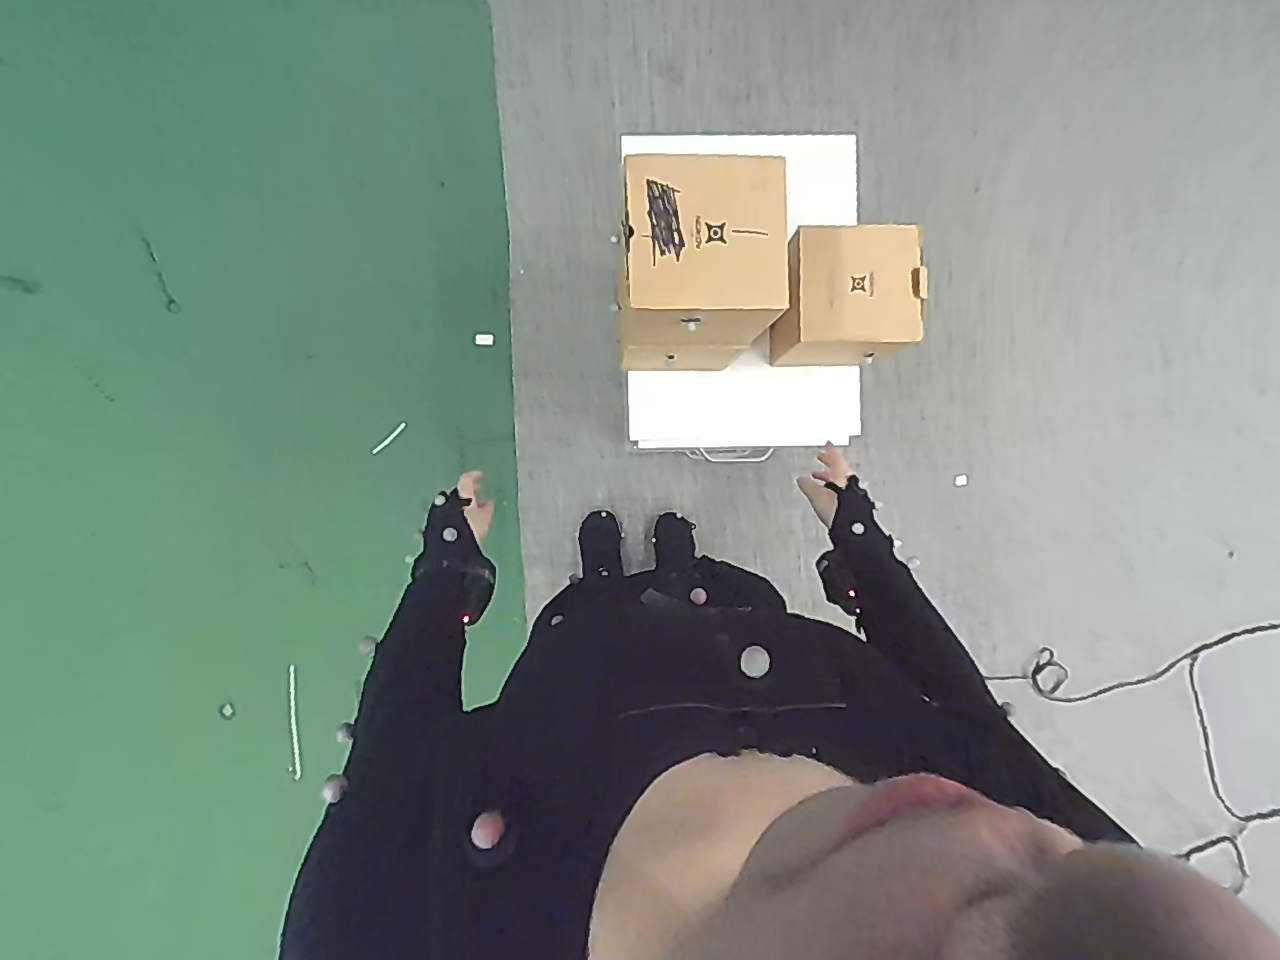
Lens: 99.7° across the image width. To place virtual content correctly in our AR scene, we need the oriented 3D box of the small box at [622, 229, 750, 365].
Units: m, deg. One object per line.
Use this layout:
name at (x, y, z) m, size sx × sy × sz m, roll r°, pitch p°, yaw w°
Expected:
small box at (0.061, -0.270, 0.816) m, size 0.179 × 0.176 × 0.168 m, roll -1°, pitch 92°, yaw -3°

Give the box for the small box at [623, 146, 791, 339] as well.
small box at (0.068, -0.269, 0.651) m, size 0.179 × 0.176 × 0.168 m, roll -2°, pitch 92°, yaw -4°

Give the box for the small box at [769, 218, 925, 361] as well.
small box at (0.307, -0.282, 0.827) m, size 0.179 × 0.176 × 0.168 m, roll -1°, pitch 91°, yaw 0°
